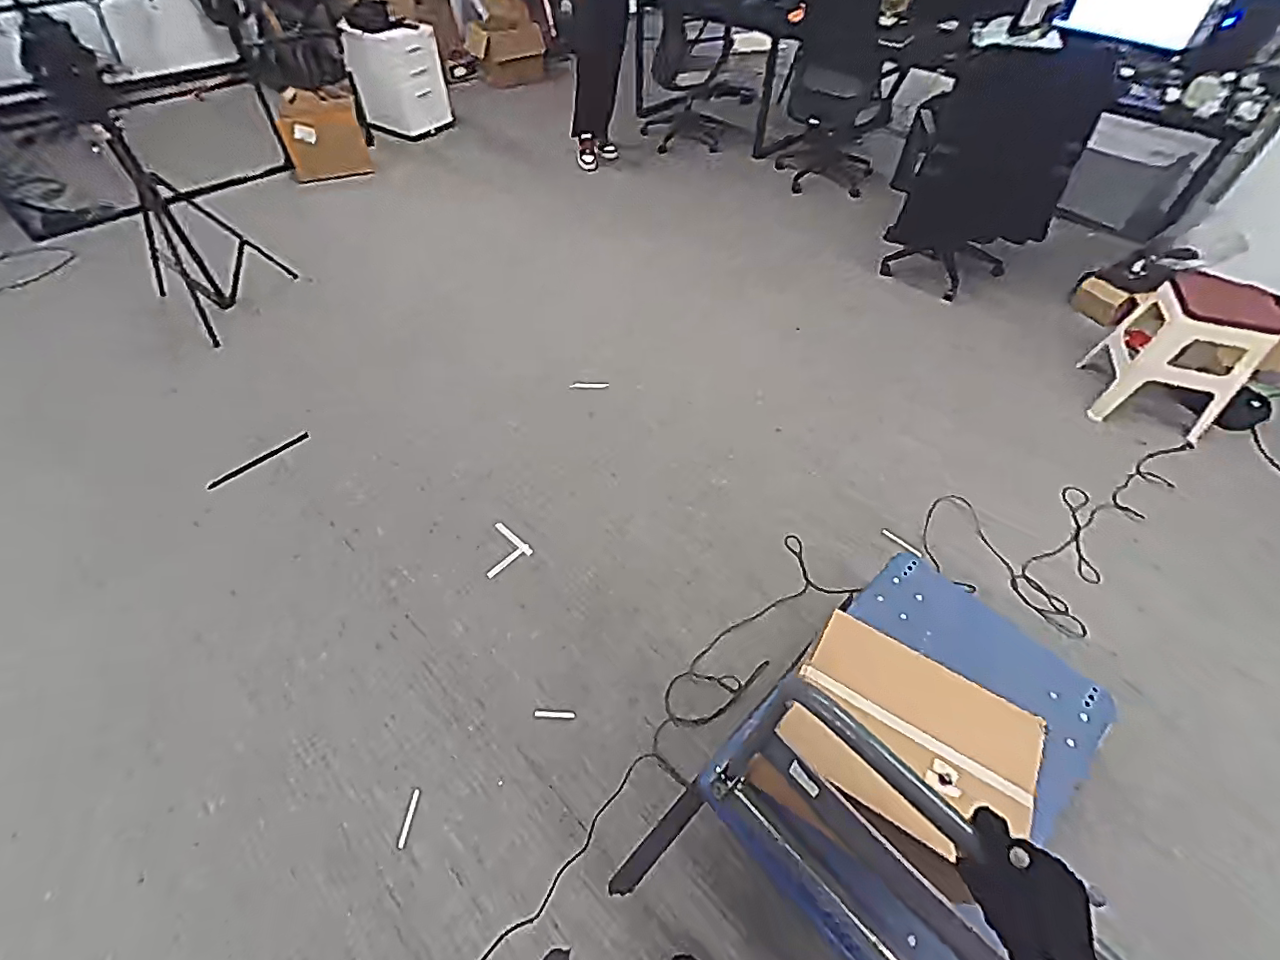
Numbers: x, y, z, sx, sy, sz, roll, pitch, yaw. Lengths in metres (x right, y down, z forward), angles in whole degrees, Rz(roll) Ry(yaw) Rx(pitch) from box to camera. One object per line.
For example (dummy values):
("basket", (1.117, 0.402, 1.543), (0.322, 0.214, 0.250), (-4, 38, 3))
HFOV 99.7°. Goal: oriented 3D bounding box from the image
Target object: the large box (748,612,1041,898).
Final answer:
("large box", (0.480, 0.543, 1.084), (0.408, 0.320, 0.320), (28, 56, 19))
